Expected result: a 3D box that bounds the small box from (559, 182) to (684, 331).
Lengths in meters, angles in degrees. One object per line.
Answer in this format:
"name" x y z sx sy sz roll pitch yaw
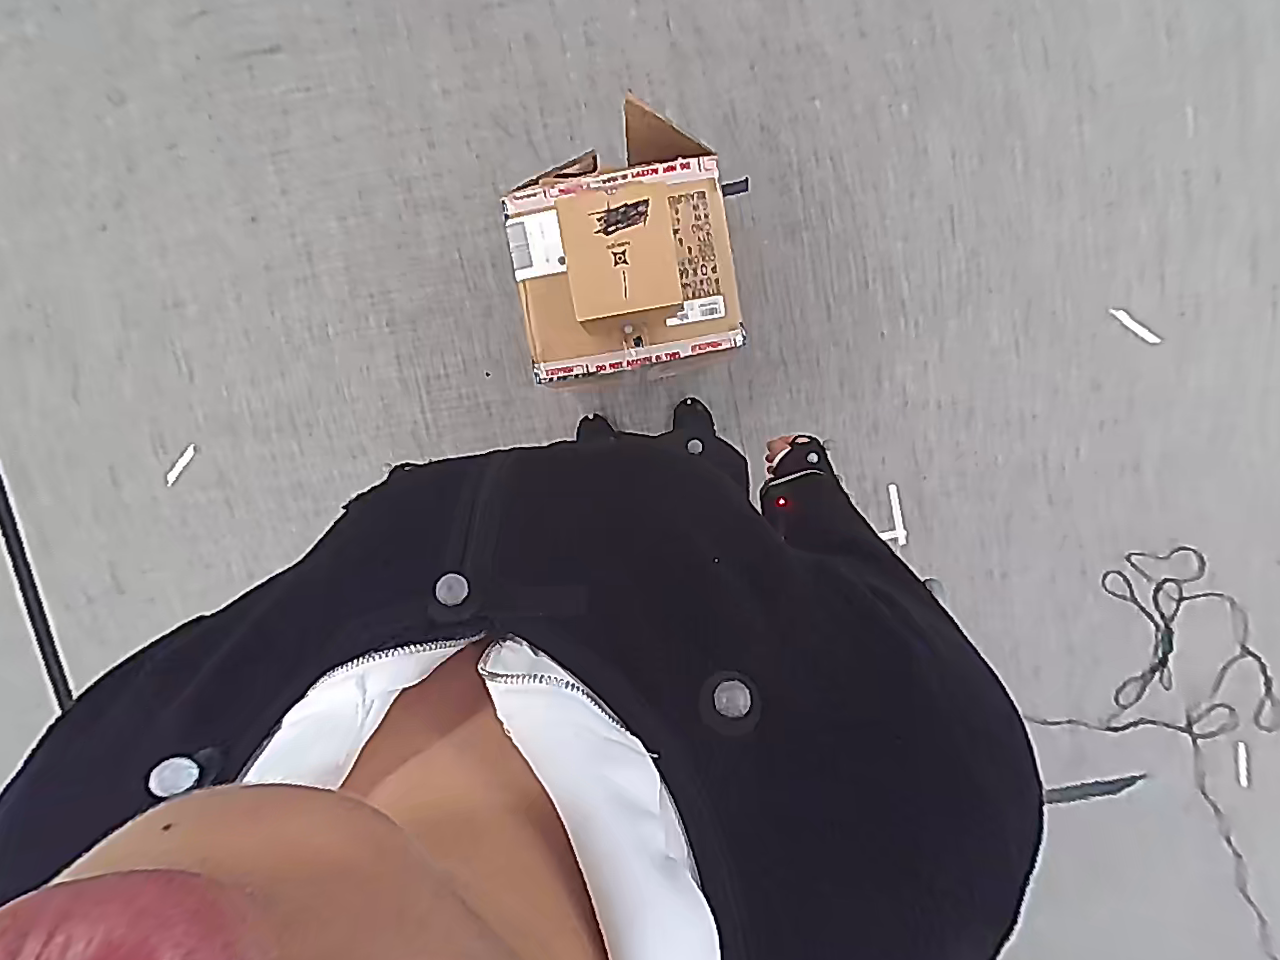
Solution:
"small box" -0.028 -0.349 0.876 0.168 0.176 0.179 -9 100 1
